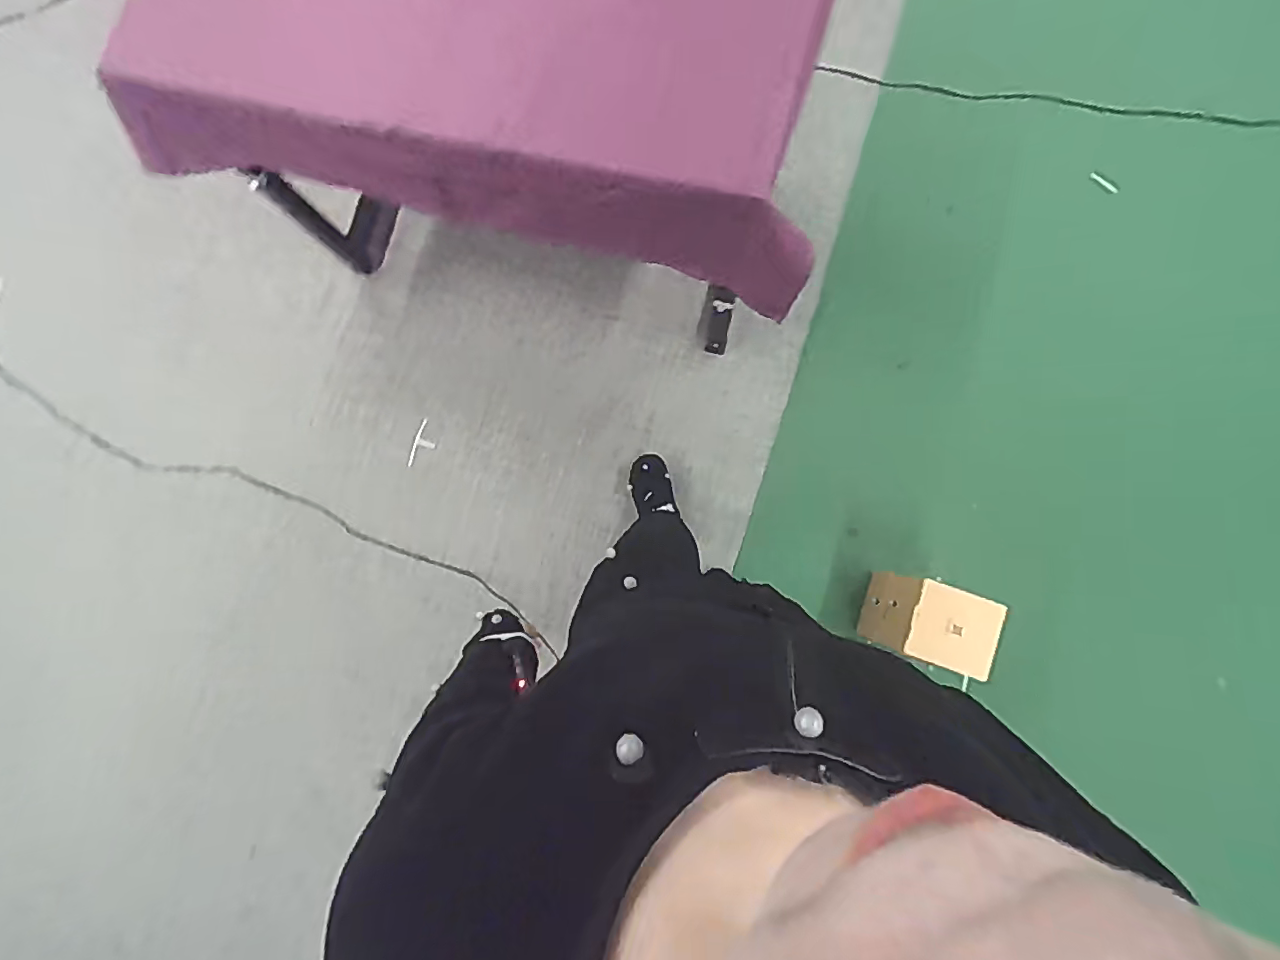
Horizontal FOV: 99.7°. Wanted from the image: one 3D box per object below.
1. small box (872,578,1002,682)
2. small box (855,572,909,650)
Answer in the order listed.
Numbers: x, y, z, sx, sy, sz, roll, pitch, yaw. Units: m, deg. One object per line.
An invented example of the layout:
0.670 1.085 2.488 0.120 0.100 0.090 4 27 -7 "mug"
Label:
0.650 0.322 1.203 0.179 0.176 0.168 20 84 6 "small box"
0.663 0.343 1.364 0.168 0.176 0.179 20 83 6 "small box"
